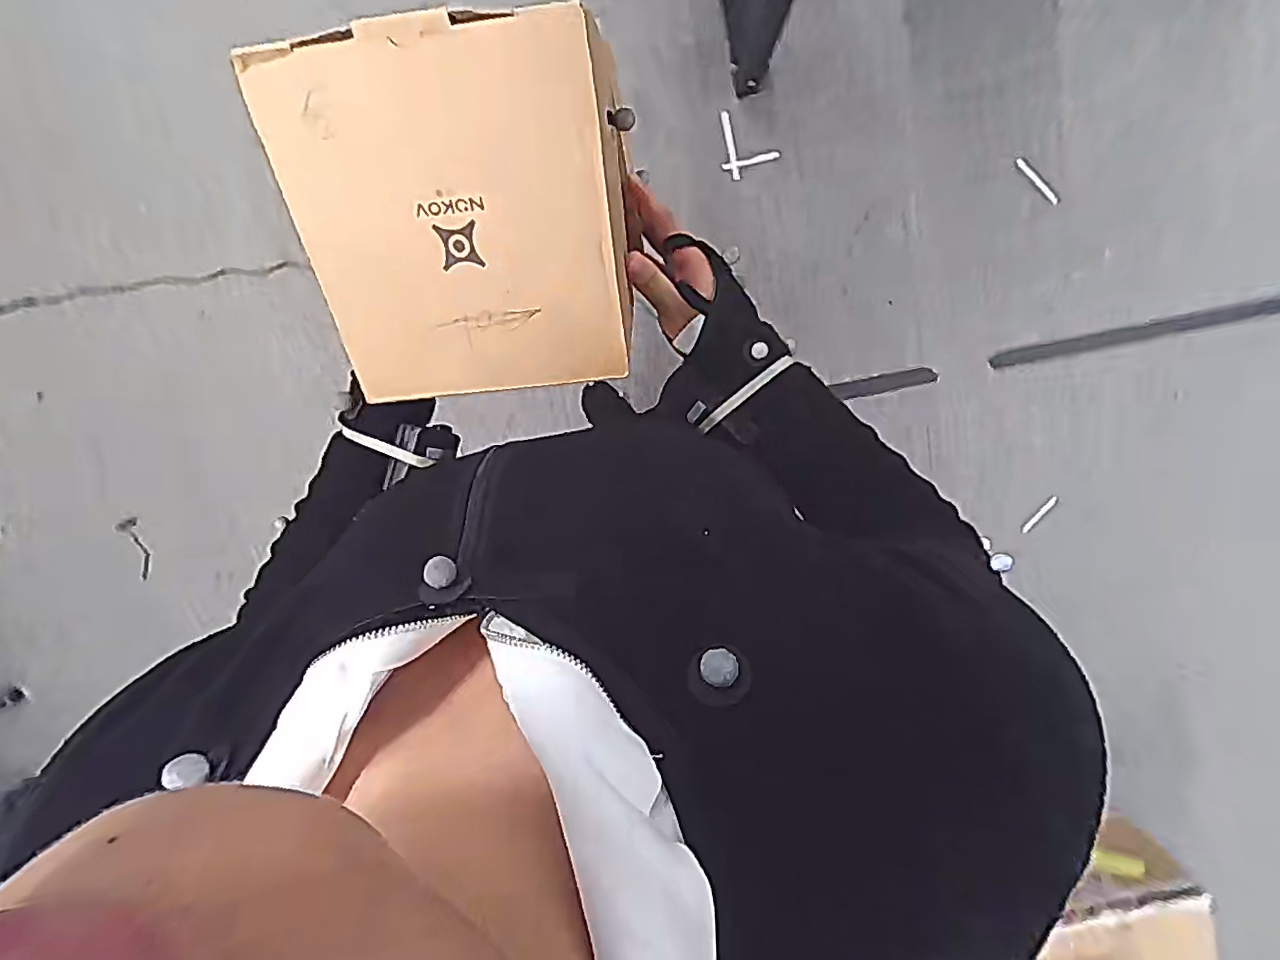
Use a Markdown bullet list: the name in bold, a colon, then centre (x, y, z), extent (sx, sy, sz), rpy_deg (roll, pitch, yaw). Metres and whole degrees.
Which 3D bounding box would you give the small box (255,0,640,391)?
- **small box**: centre (-0.088, -0.175, 0.352), extent (0.168, 0.176, 0.179), rpy_deg (-4, 123, 3)
